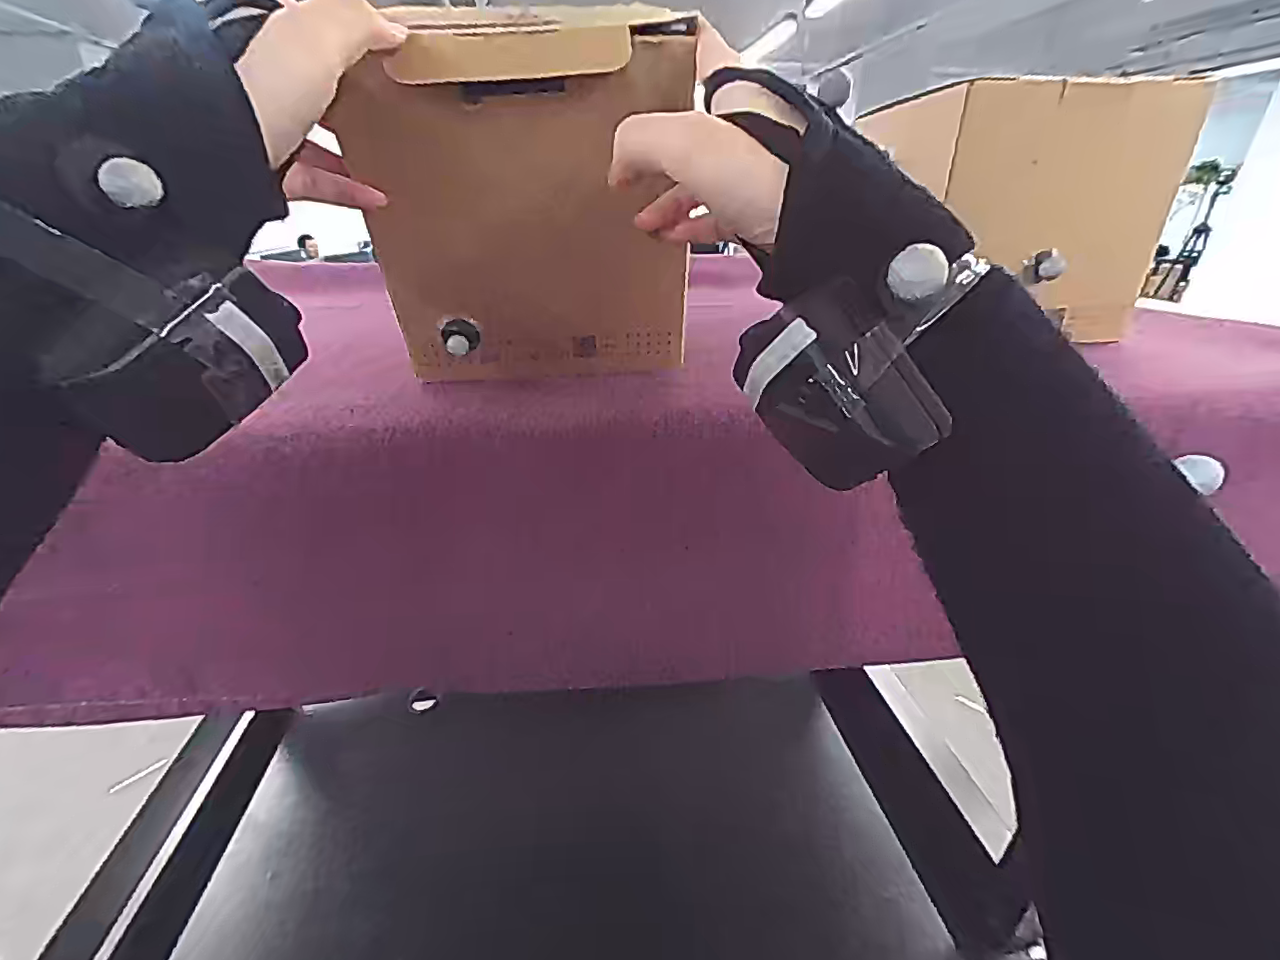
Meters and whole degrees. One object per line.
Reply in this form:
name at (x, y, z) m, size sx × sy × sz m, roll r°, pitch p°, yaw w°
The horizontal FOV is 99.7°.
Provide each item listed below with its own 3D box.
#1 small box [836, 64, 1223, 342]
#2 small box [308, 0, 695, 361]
small box at (0.277, -0.215, 0.442) m, size 0.168 × 0.176 × 0.179 m, roll -2°, pitch 27°, yaw -3°
small box at (-0.062, -0.185, 0.339) m, size 0.168 × 0.176 × 0.179 m, roll -3°, pitch 42°, yaw -4°
